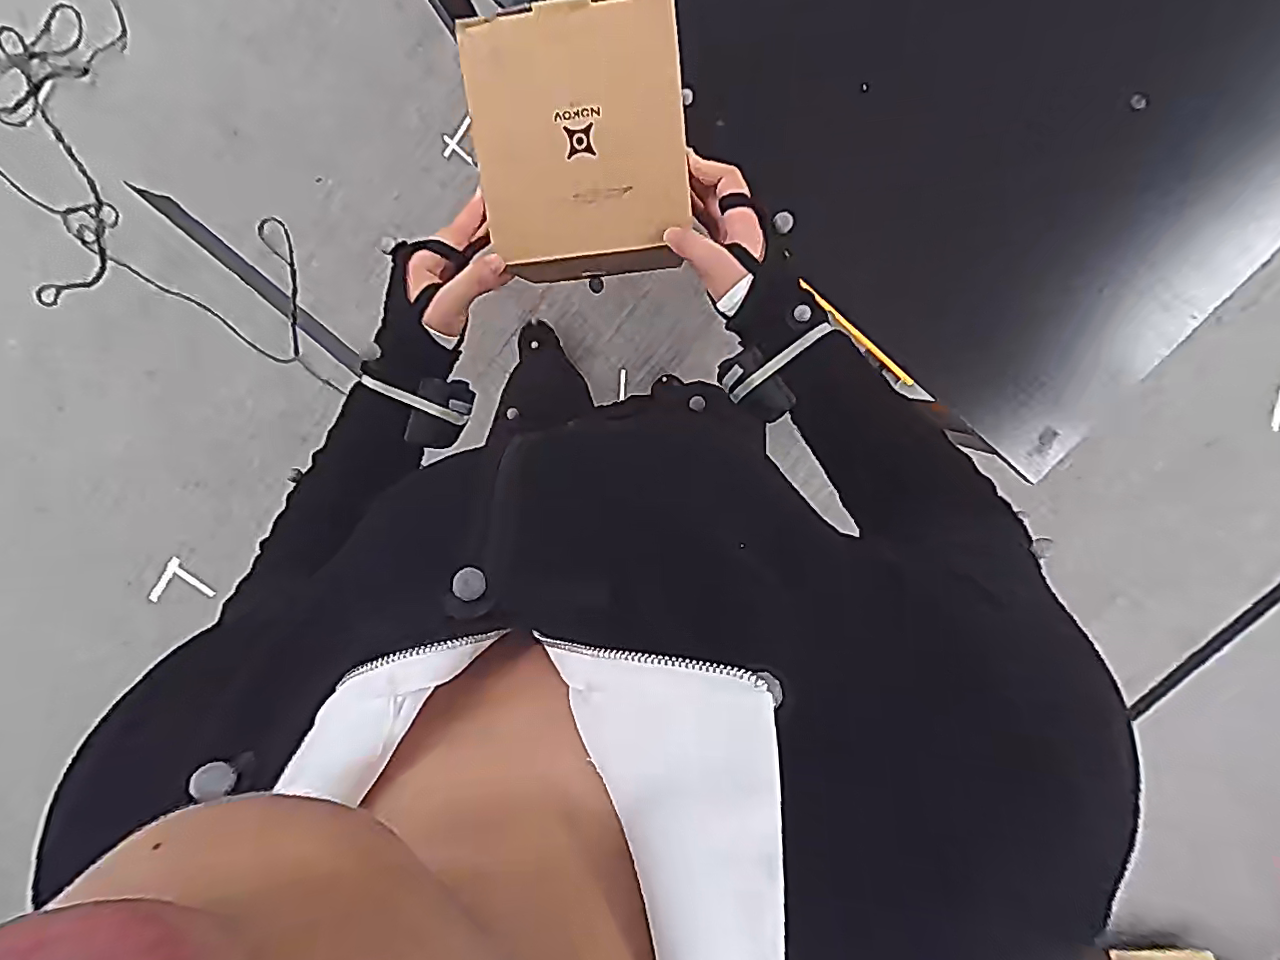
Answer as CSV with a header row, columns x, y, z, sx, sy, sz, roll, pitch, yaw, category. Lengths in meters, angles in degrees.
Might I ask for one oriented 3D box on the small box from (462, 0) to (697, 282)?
x,y,z,sx,sy,sz,roll,pitch,yaw,category
-0.042,-0.290,0.496,0.168,0.176,0.179,-6,105,4,small box
